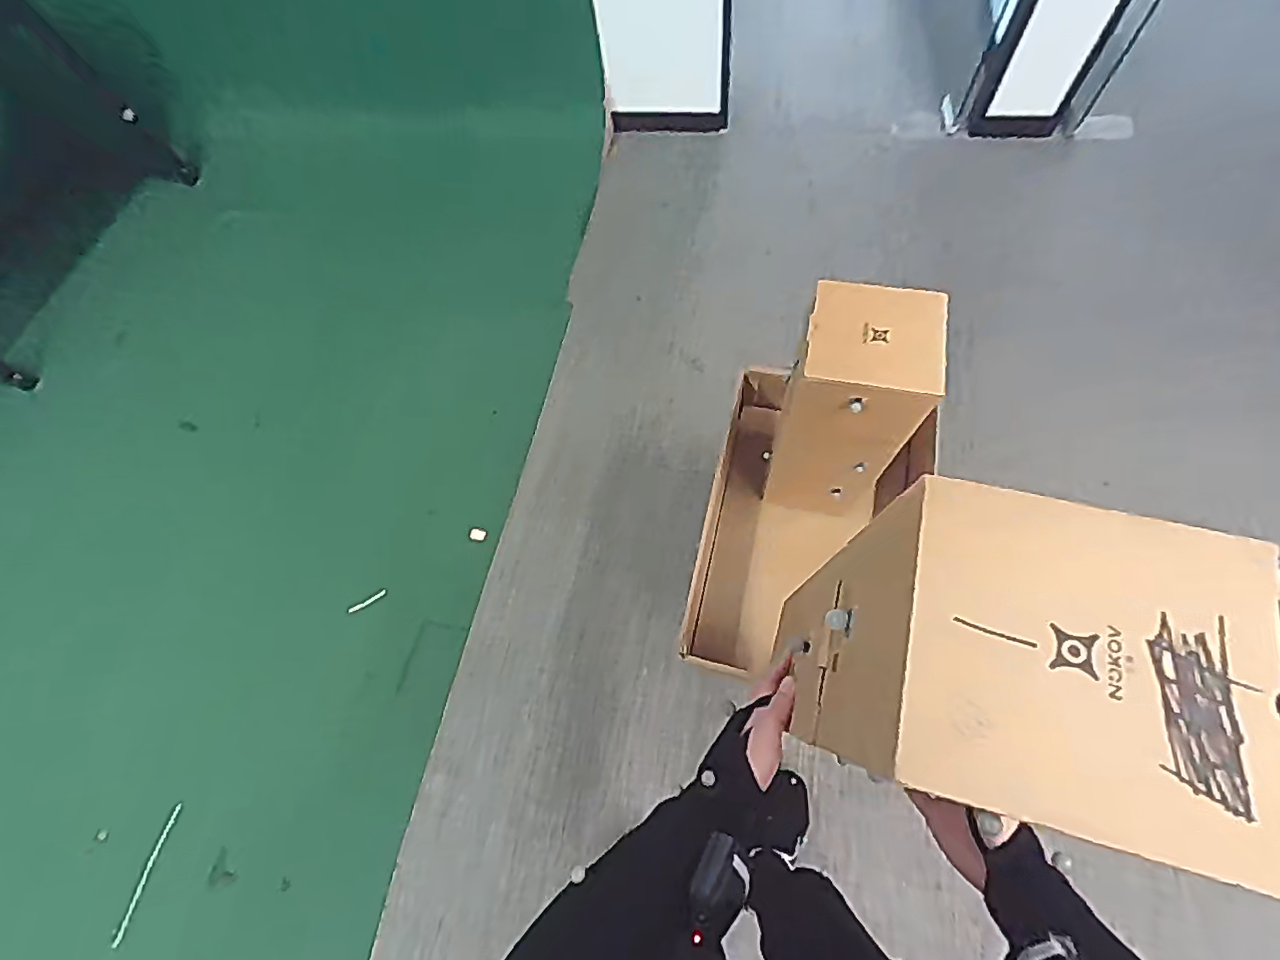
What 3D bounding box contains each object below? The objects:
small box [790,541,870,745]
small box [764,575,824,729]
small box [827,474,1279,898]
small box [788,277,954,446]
[{"bbox_3d":[0.247,0.173,0.497,0.179,0.176,0.168,14,72,11],"label":"small box"},{"bbox_3d":[0.259,0.232,0.649,0.179,0.176,0.168,17,72,10],"label":"small box"},{"bbox_3d":[0.237,0.116,0.343,0.179,0.176,0.168,13,71,10],"label":"small box"},{"bbox_3d":[0.325,-0.163,0.783,0.179,0.176,0.168,10,70,10],"label":"small box"}]
